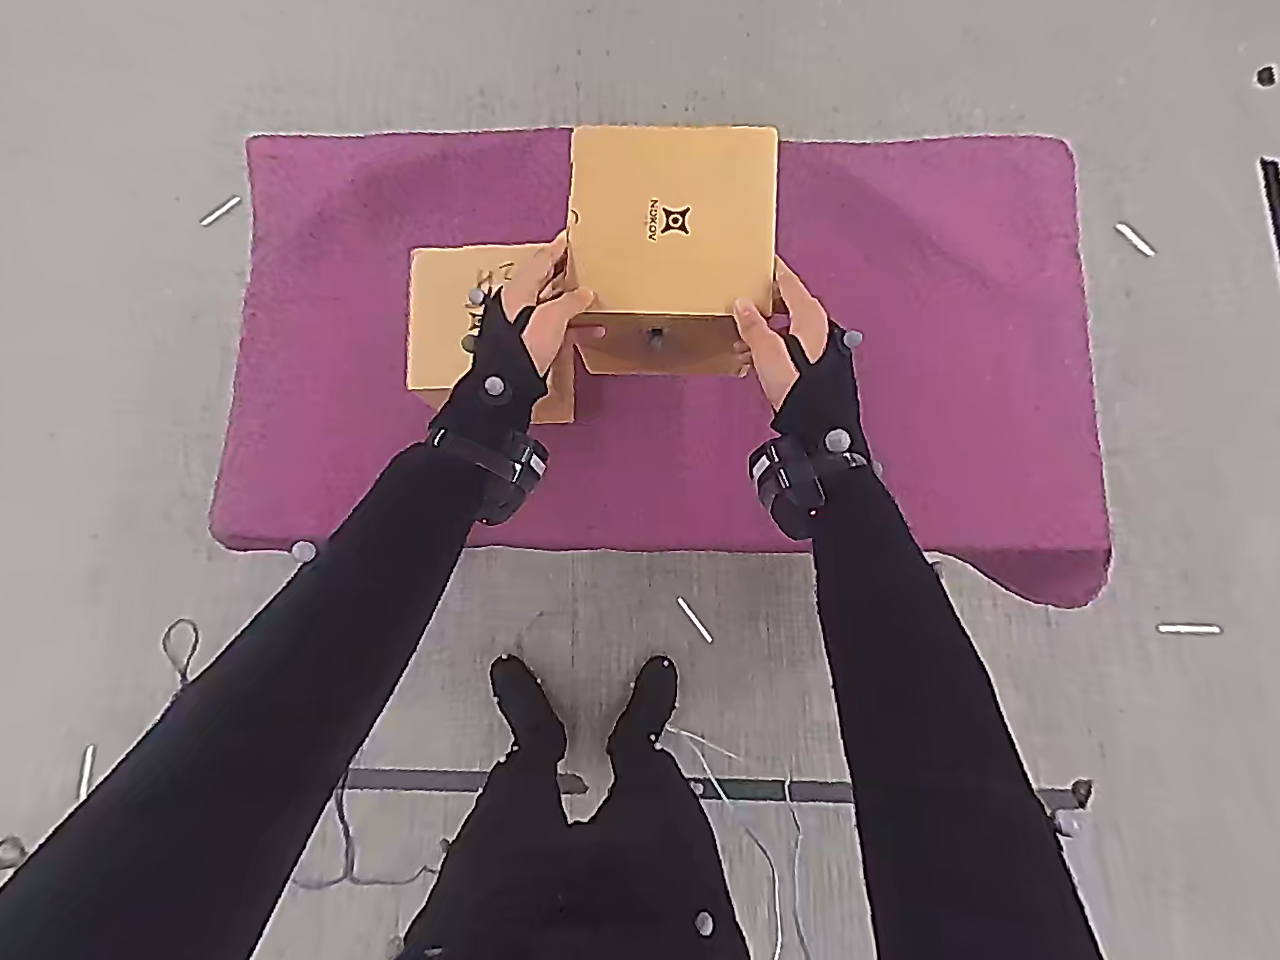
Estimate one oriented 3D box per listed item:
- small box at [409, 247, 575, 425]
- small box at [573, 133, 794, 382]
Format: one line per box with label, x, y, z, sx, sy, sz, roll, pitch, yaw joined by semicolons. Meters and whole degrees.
small box;-0.175;-0.170;0.691;0.168;0.176;0.179;-1;81;1
small box;0.041;-0.198;0.523;0.179;0.176;0.168;3;85;5
